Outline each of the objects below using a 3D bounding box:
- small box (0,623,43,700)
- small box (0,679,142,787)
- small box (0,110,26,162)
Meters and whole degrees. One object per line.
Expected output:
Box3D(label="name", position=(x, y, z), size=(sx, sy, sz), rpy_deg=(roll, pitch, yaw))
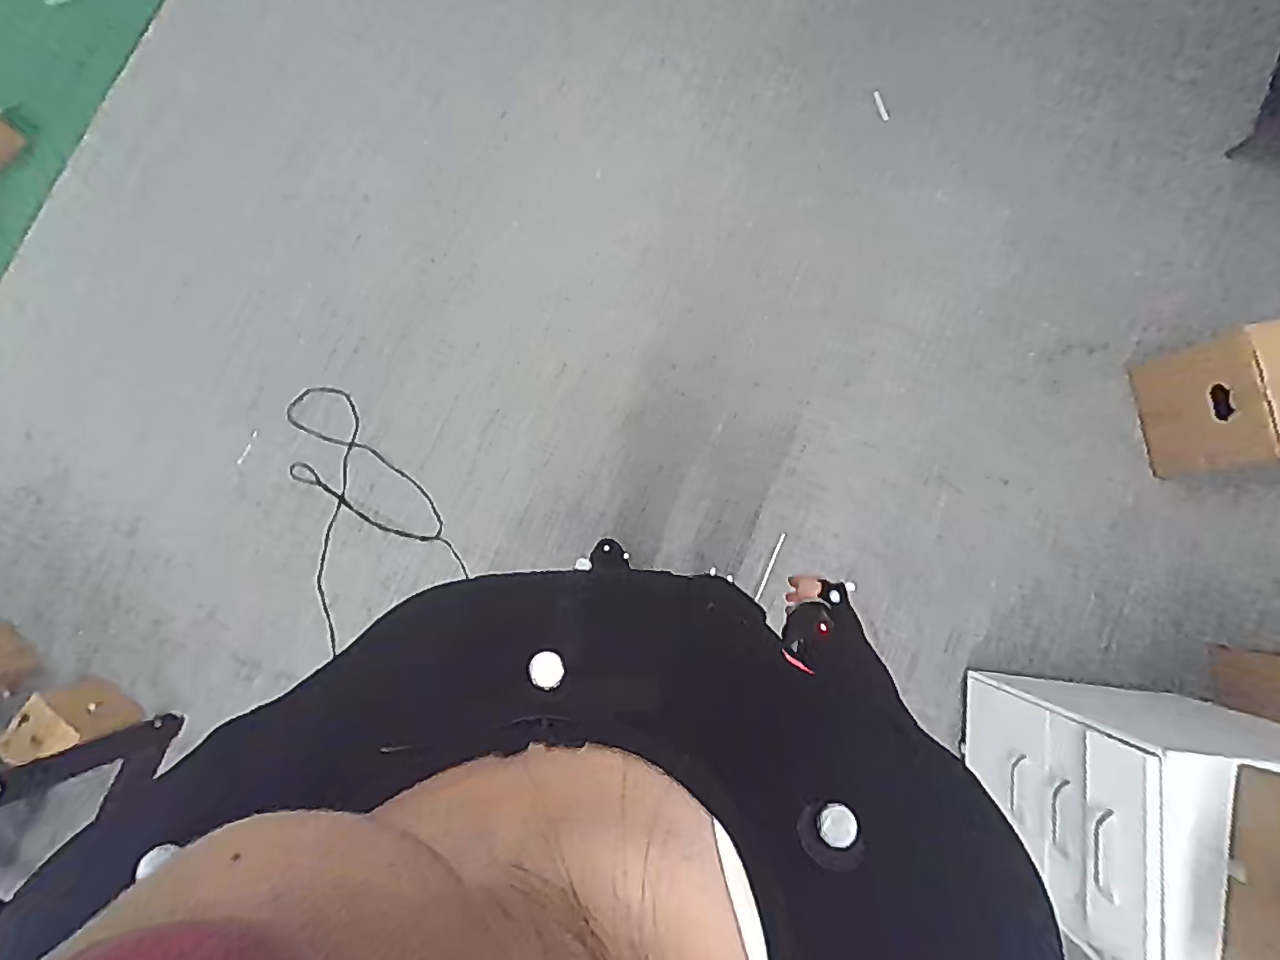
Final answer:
Box3D(label="small box", position=(-1.800, 0.502, 1.452), size=(0.179, 0.176, 0.168), rpy_deg=(44, 87, 5))
Box3D(label="small box", position=(-1.489, 0.652, 1.422), size=(0.179, 0.176, 0.168), rpy_deg=(36, 85, 5))
Box3D(label="small box", position=(-2.075, -1.095, 1.654), size=(0.168, 0.176, 0.179), rpy_deg=(43, 86, 6))
